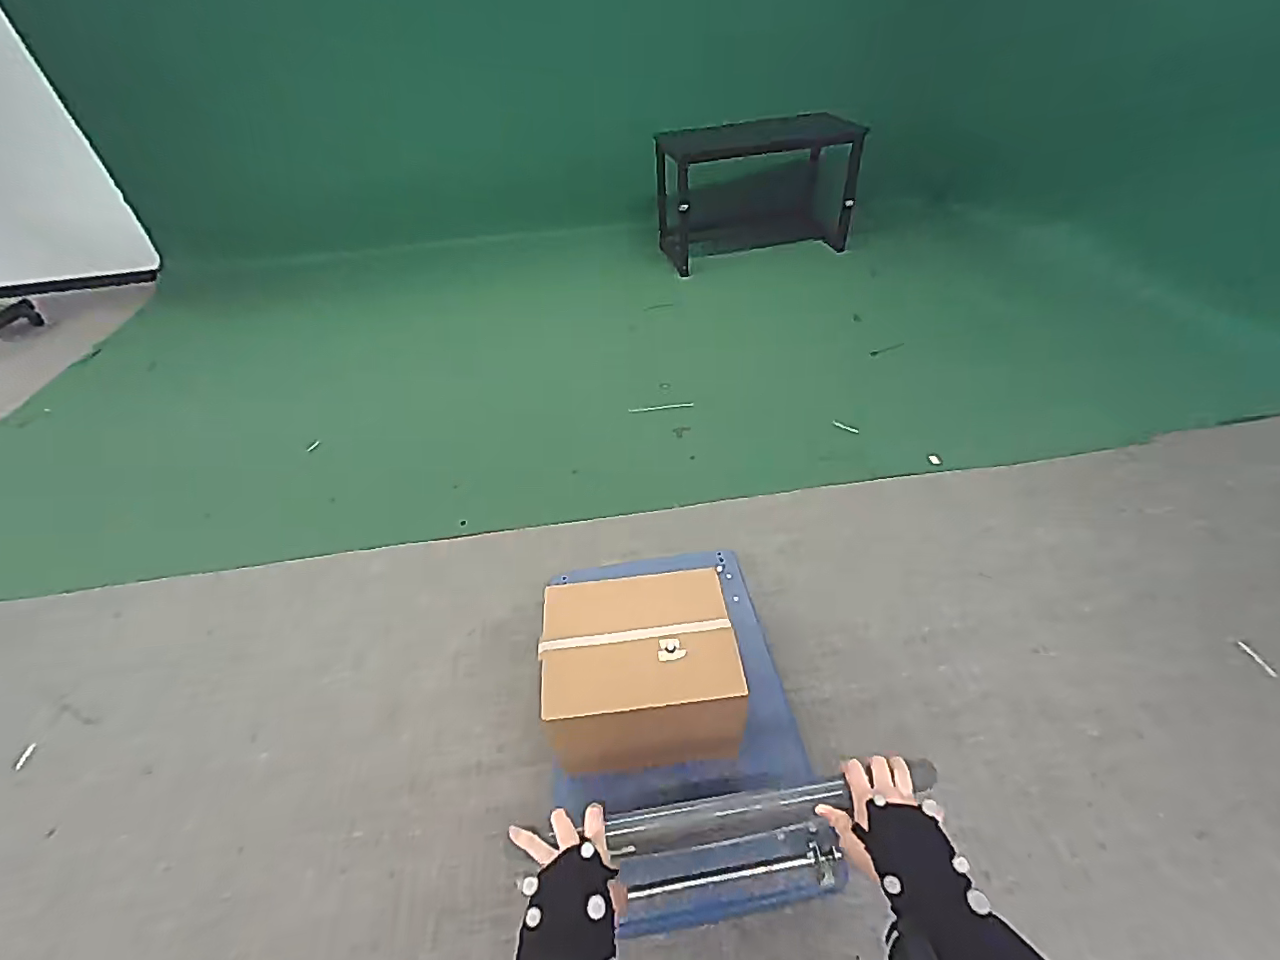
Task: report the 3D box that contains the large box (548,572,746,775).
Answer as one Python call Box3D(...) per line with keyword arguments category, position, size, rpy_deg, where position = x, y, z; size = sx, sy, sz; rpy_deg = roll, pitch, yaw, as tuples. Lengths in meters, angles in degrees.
Box3D(category="large box", position=(0.006, 0.453, 1.271), size=(0.408, 0.320, 0.320), rpy_deg=(-6, 43, -3))
